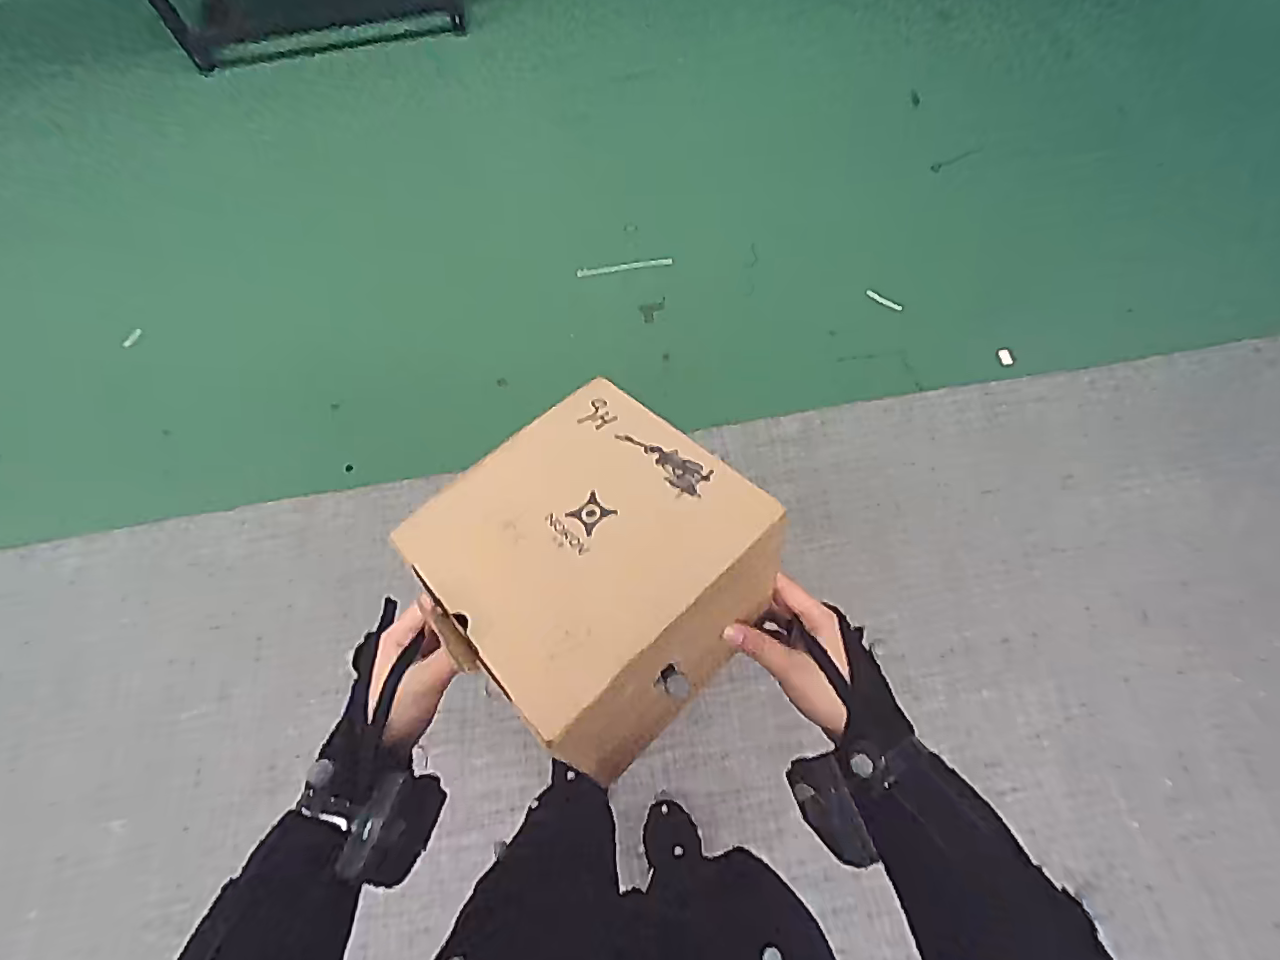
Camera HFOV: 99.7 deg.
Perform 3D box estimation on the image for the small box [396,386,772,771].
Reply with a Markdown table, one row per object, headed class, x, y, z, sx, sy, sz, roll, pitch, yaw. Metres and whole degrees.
| class | x | y | z | sx | sy | sz | roll | pitch | yaw |
| --- | --- | --- | --- | --- | --- | --- | --- | --- | --- |
| small box | -0.025 | 0.074 | 0.385 | 0.179 | 0.176 | 0.168 | -40 | 59 | -18 |
